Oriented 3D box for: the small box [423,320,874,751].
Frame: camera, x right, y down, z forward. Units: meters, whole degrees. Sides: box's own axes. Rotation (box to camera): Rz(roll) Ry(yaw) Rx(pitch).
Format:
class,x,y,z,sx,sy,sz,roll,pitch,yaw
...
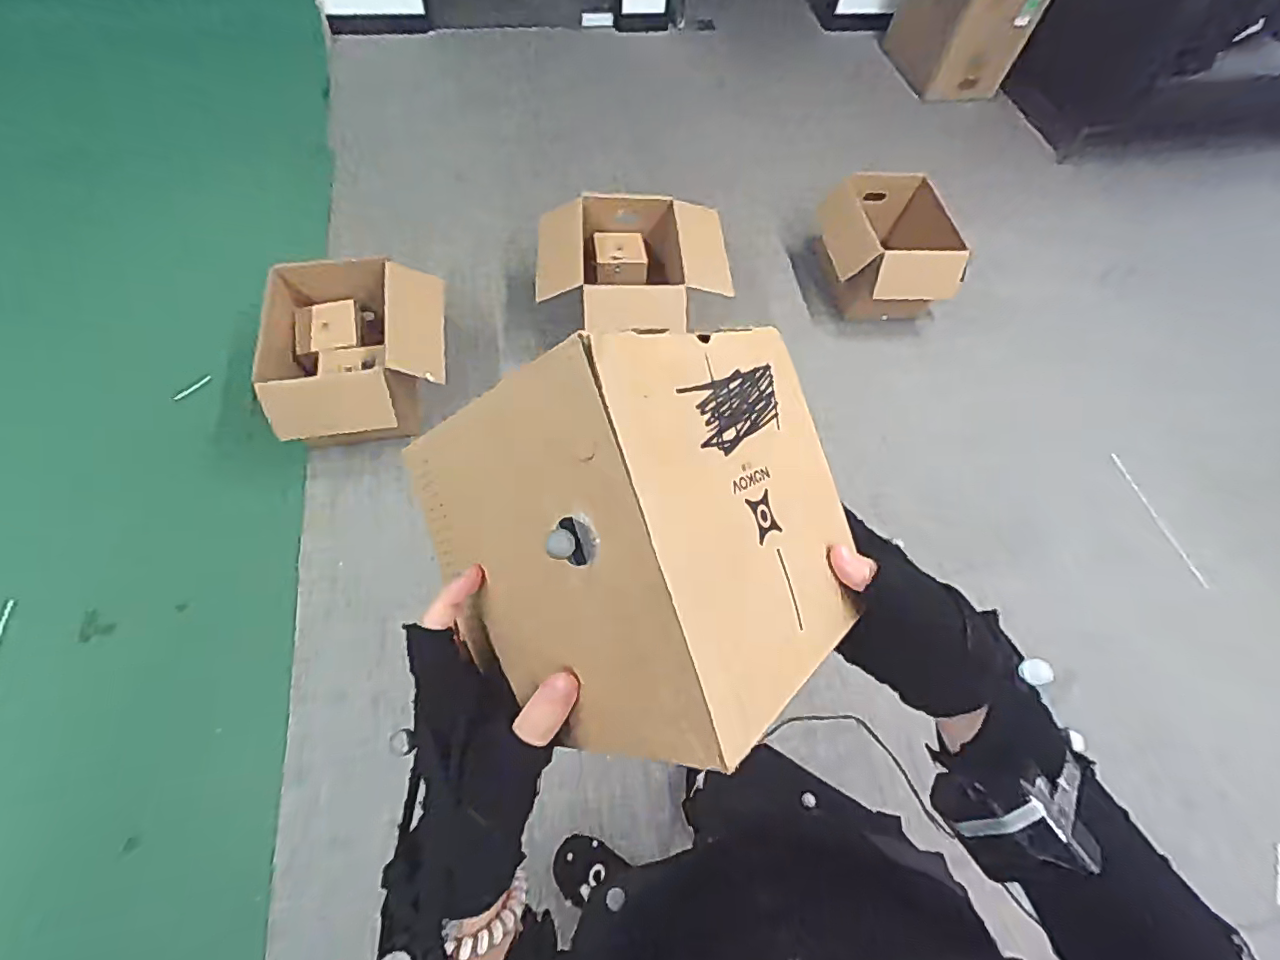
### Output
class,x,y,z,sx,sy,sz,roll,pitch,yaw
small box,0.003,0.026,0.313,0.168,0.176,0.179,-18,90,-48
